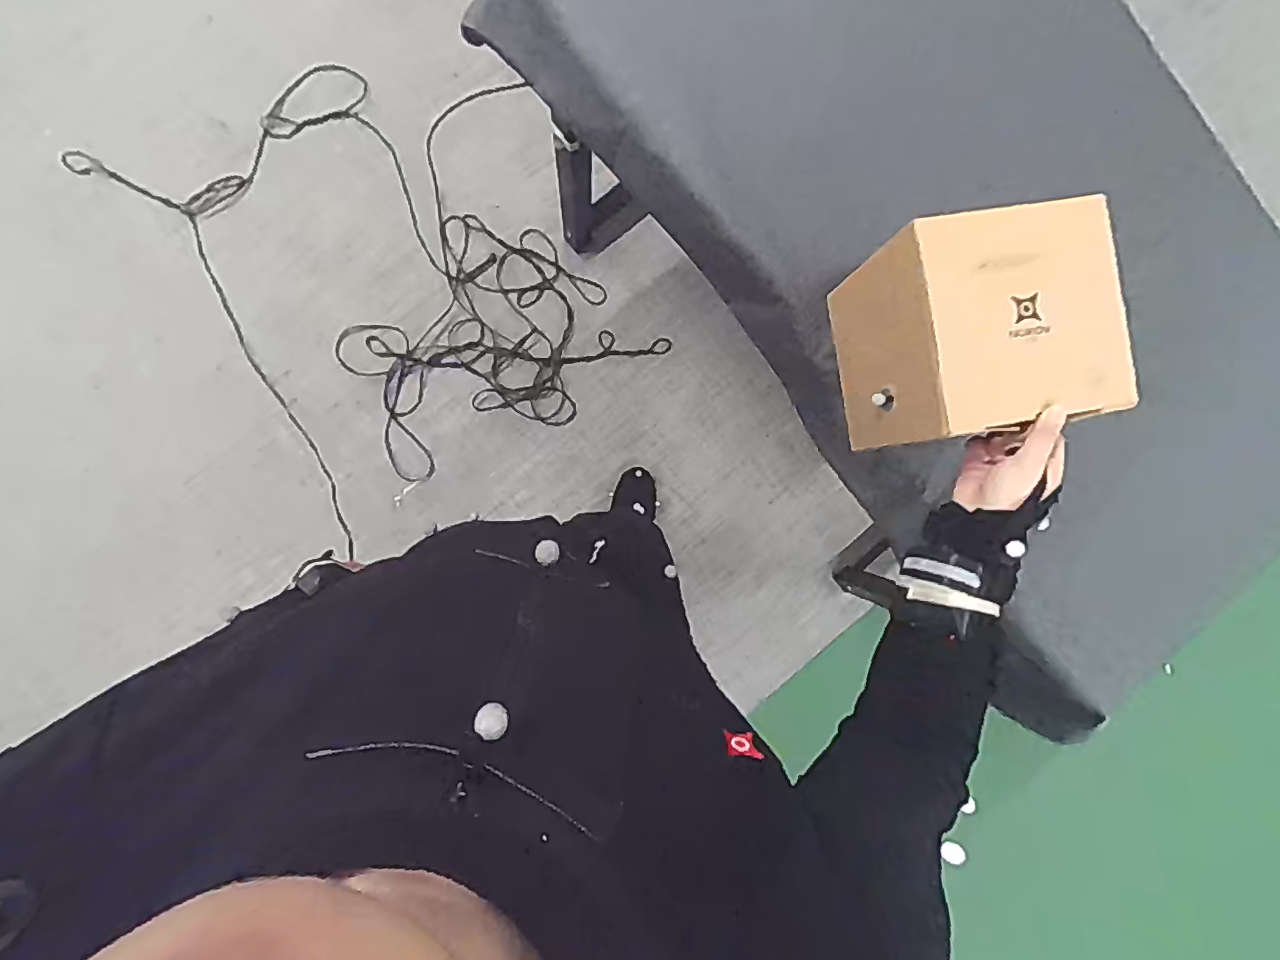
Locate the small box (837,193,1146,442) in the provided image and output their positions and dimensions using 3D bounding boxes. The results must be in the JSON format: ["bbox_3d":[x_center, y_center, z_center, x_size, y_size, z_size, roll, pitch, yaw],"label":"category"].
[{"bbox_3d":[0.309,-0.134,0.512,0.168,0.176,0.179,-10,89,-5],"label":"small box"}]
